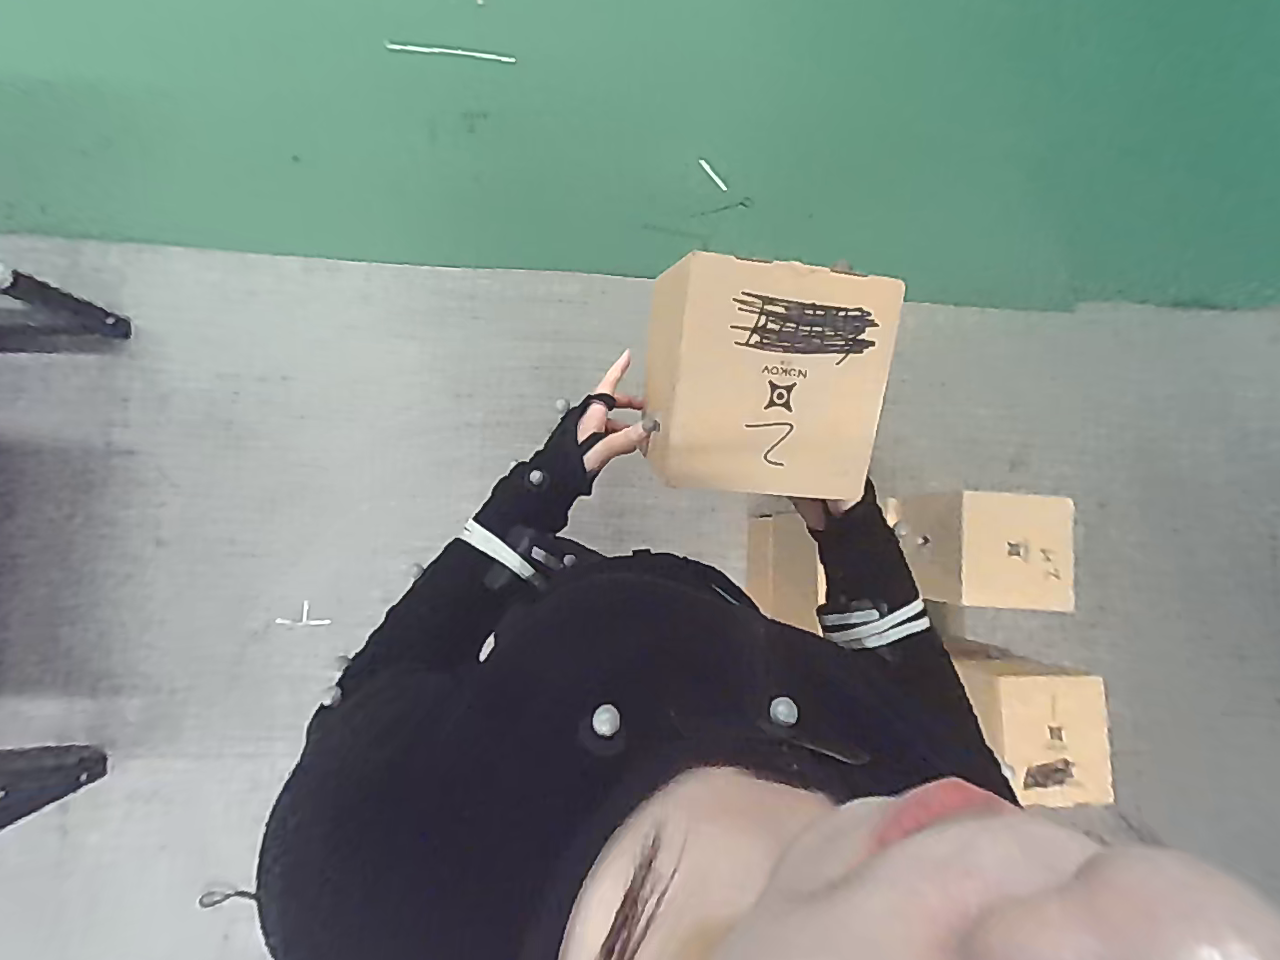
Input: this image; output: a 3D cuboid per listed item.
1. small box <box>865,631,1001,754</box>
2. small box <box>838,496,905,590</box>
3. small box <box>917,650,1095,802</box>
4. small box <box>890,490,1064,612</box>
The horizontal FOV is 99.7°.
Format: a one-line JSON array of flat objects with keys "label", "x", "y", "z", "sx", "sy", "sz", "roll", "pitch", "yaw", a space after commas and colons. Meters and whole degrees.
[{"label": "small box", "x": 0.539, "y": 0.387, "z": 1.007, "sx": 0.168, "sy": 0.176, "sz": 0.179, "roll": 1, "pitch": 83, "yaw": -7}, {"label": "small box", "x": 0.492, "y": 0.121, "z": 1.024, "sx": 0.179, "sy": 0.176, "sz": 0.168, "roll": 4, "pitch": 86, "yaw": -6}, {"label": "small box", "x": 0.558, "y": 0.374, "z": 0.845, "sx": 0.168, "sy": 0.176, "sz": 0.179, "roll": 3, "pitch": 83, "yaw": -6}, {"label": "small box", "x": 0.524, "y": 0.109, "z": 0.862, "sx": 0.179, "sy": 0.176, "sz": 0.168, "roll": 6, "pitch": 86, "yaw": -6}]
